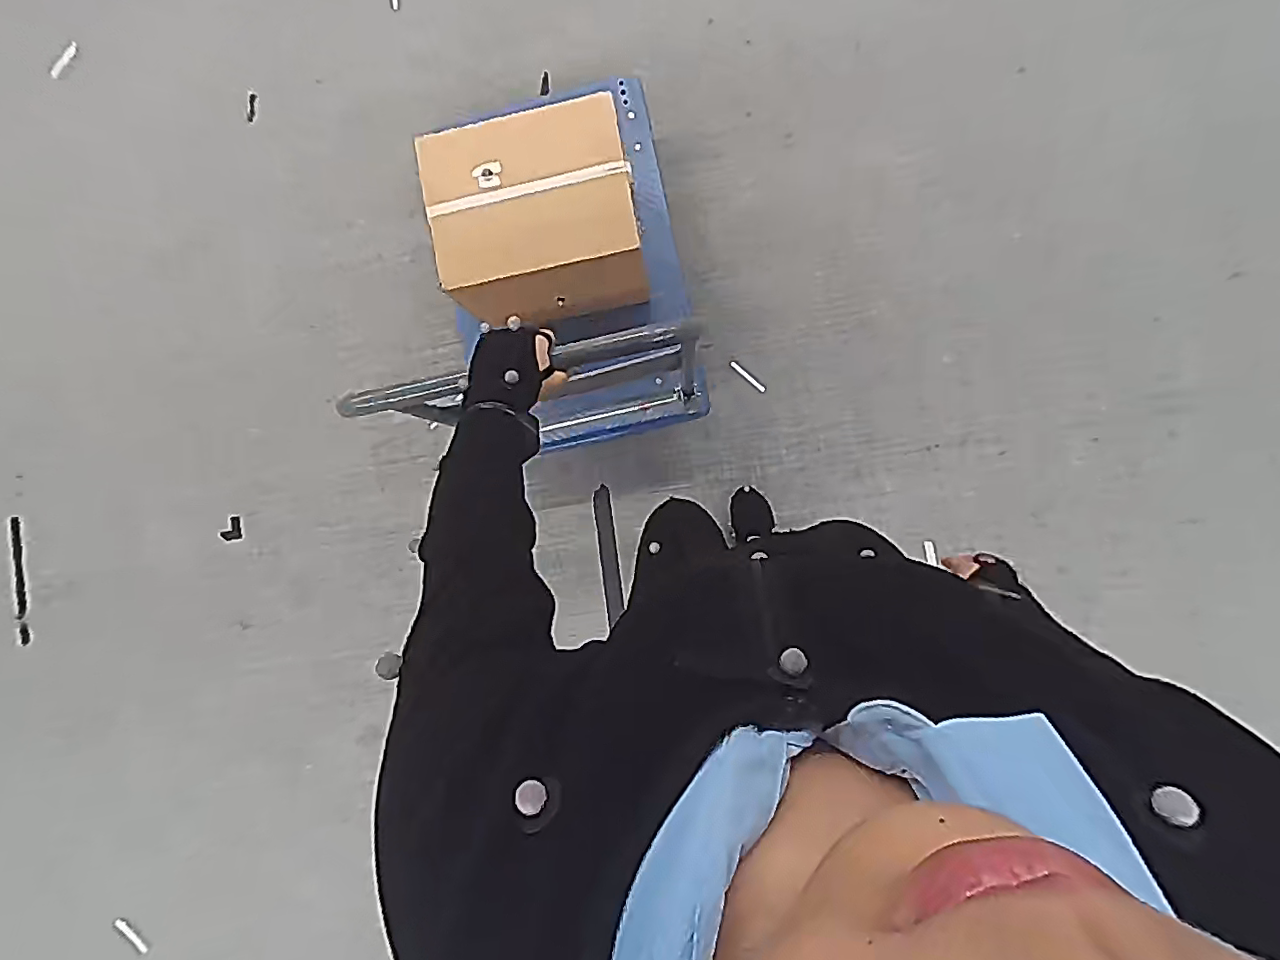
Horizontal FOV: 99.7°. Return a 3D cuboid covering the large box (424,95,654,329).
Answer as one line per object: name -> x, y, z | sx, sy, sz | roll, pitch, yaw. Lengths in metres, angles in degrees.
large box -> -0.201, -0.564, 1.215 | 0.408, 0.320, 0.320 | -10, 88, 6
